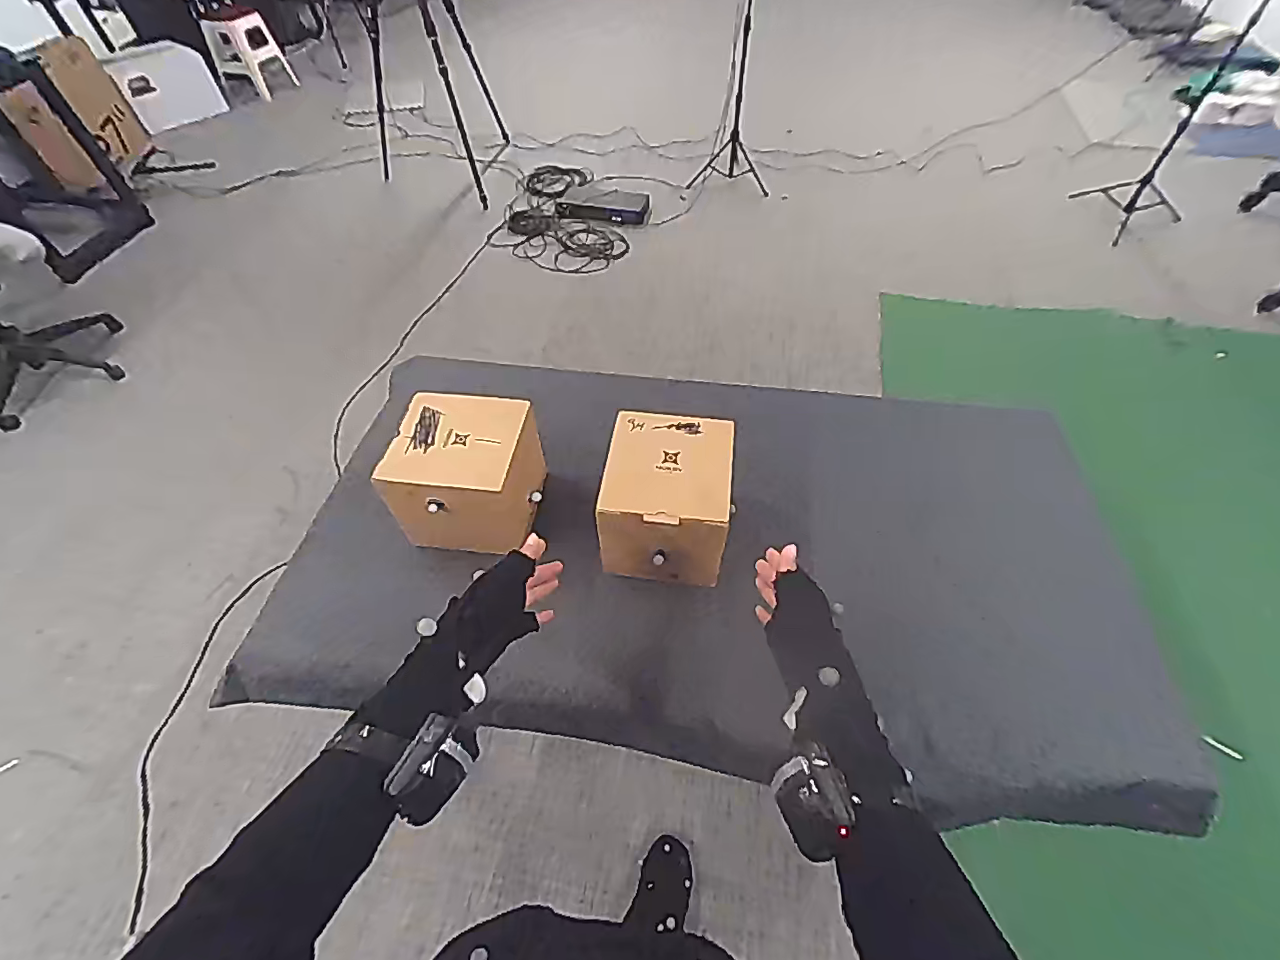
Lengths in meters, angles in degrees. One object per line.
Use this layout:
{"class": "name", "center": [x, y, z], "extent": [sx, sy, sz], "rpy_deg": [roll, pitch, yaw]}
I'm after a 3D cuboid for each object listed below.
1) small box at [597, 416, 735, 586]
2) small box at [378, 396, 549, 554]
{"class": "small box", "center": [0.041, 0.034, 0.776], "extent": [0.168, 0.176, 0.179], "rpy_deg": [7, 53, 6]}
{"class": "small box", "center": [-0.248, -0.003, 0.808], "extent": [0.179, 0.176, 0.168], "rpy_deg": [6, 53, 4]}
